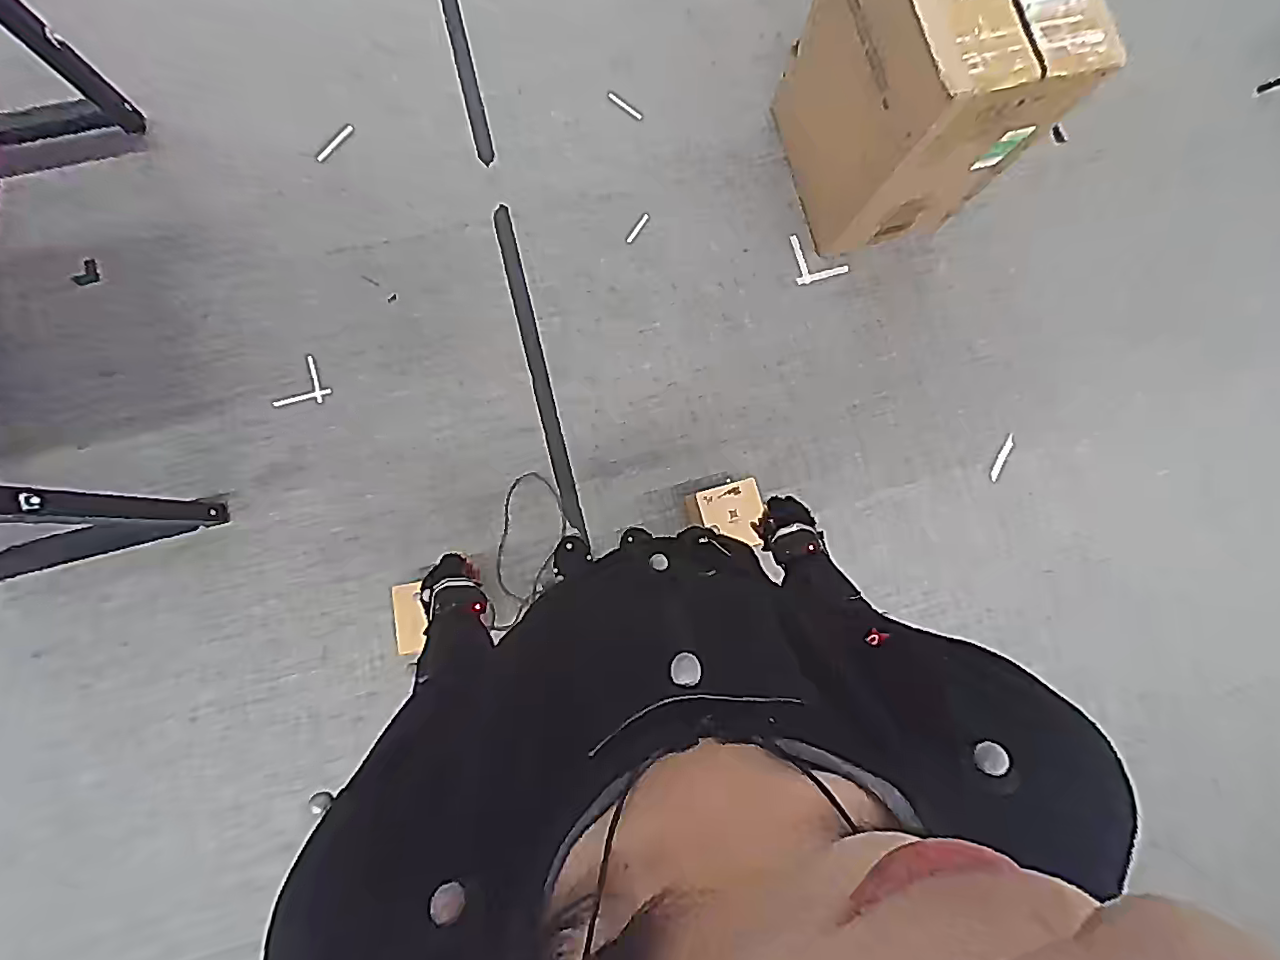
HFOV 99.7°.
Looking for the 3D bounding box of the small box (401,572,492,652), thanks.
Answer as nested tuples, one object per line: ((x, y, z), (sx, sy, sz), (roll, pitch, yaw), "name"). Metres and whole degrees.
((-0.490, 0.333, 1.393), (0.179, 0.176, 0.168), (-9, 83, -2), "small box")

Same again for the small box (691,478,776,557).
((0.250, 0.101, 1.476), (0.168, 0.176, 0.179), (-15, 86, -6), "small box")
